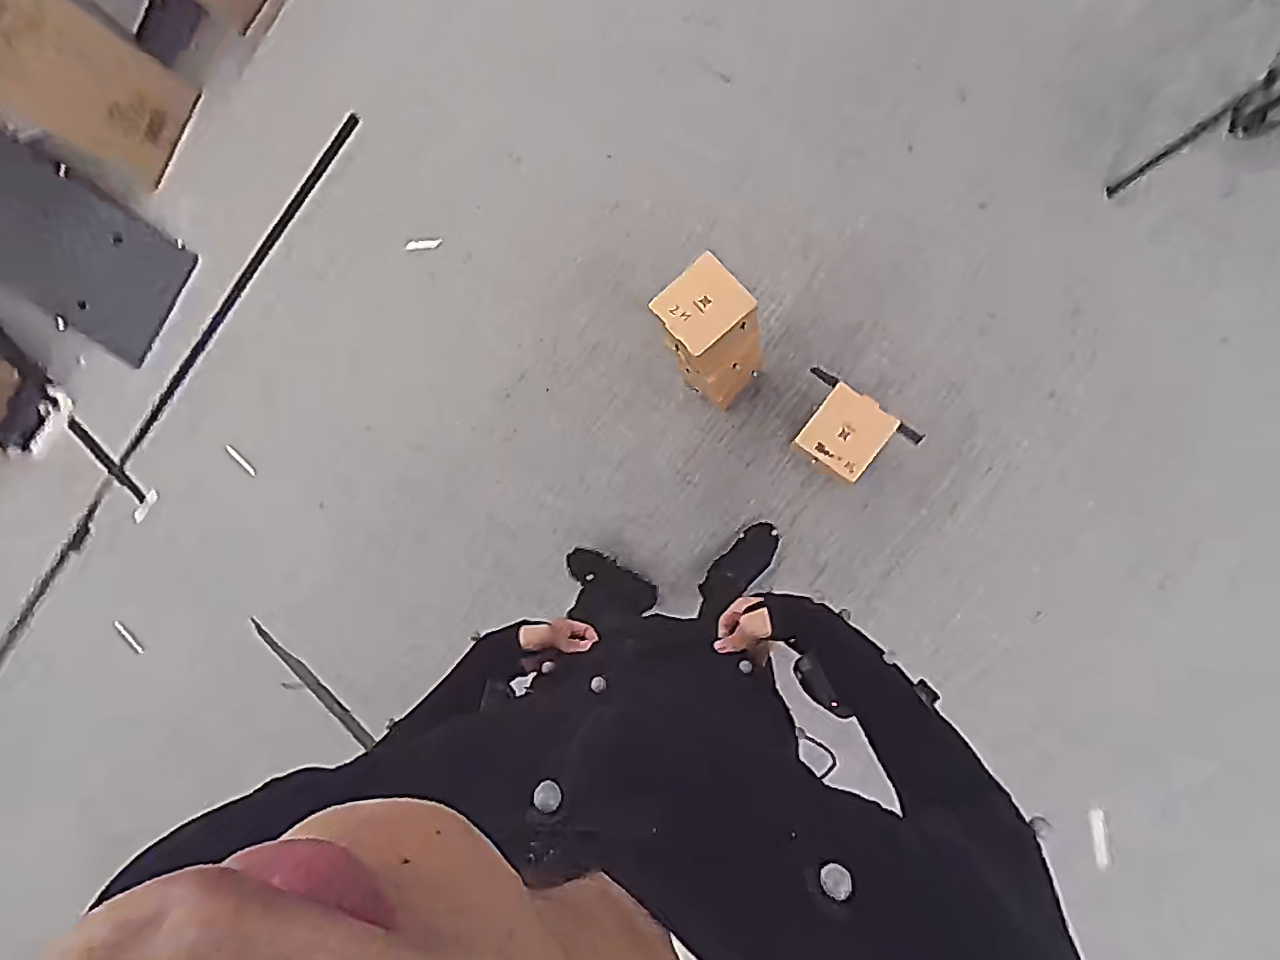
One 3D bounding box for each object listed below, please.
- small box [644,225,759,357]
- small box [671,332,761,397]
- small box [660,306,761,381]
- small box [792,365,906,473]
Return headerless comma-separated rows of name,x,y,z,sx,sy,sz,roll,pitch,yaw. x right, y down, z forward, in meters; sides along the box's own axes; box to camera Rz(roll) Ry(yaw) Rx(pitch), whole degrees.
small box,0.135,-0.395,1.162,0.179,0.176,0.168,-40,80,8
small box,0.210,-0.354,1.476,0.168,0.176,0.179,42,96,11
small box,0.174,-0.370,1.321,0.168,0.176,0.179,45,97,10
small box,0.471,-0.133,1.253,0.168,0.176,0.179,38,95,10
